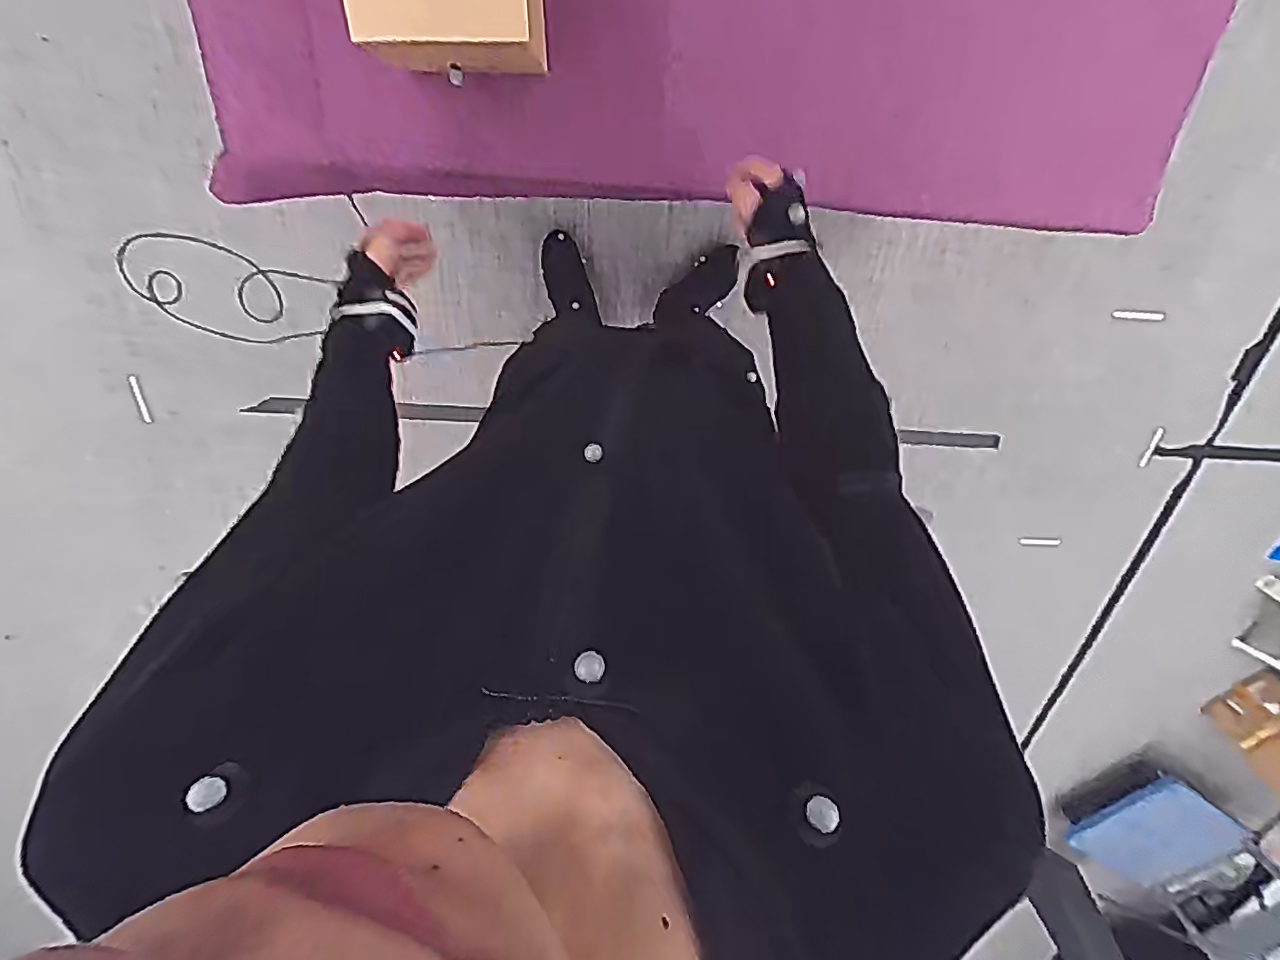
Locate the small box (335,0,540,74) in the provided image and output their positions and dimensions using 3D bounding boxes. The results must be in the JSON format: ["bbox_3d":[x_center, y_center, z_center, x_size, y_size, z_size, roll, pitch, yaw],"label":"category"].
[{"bbox_3d":[-0.191,-0.515,0.519,0.168,0.176,0.179,-1,119,-3],"label":"small box"}]
